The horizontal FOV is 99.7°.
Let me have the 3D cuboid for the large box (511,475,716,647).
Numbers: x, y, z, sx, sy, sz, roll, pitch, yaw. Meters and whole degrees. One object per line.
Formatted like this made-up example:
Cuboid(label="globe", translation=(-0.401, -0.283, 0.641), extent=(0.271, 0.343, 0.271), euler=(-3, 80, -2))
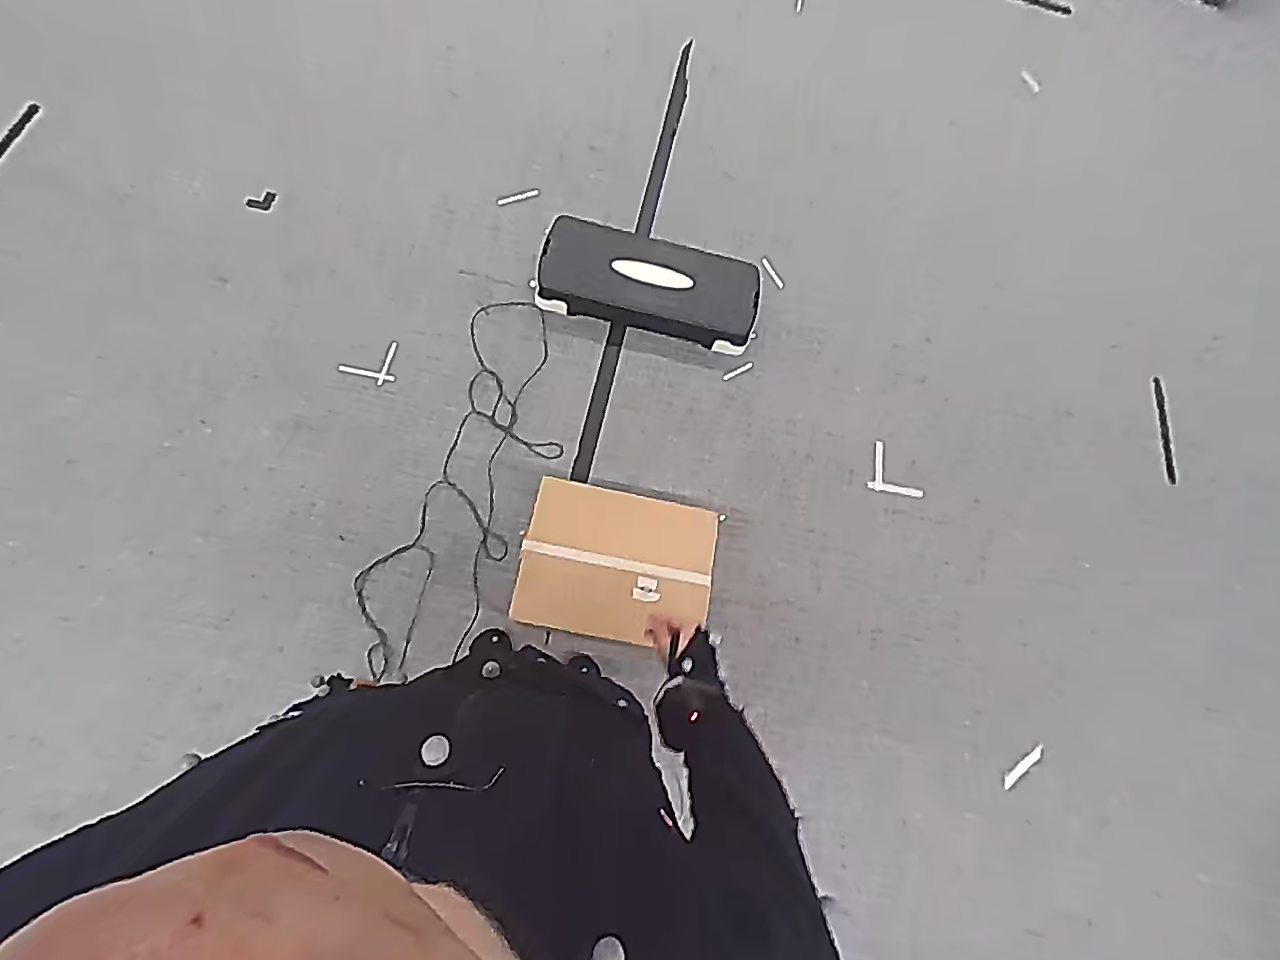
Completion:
Cuboid(label="large box", translation=(-0.069, 0.211, 1.294), extent=(0.408, 0.320, 0.320), euler=(12, 73, -5))
